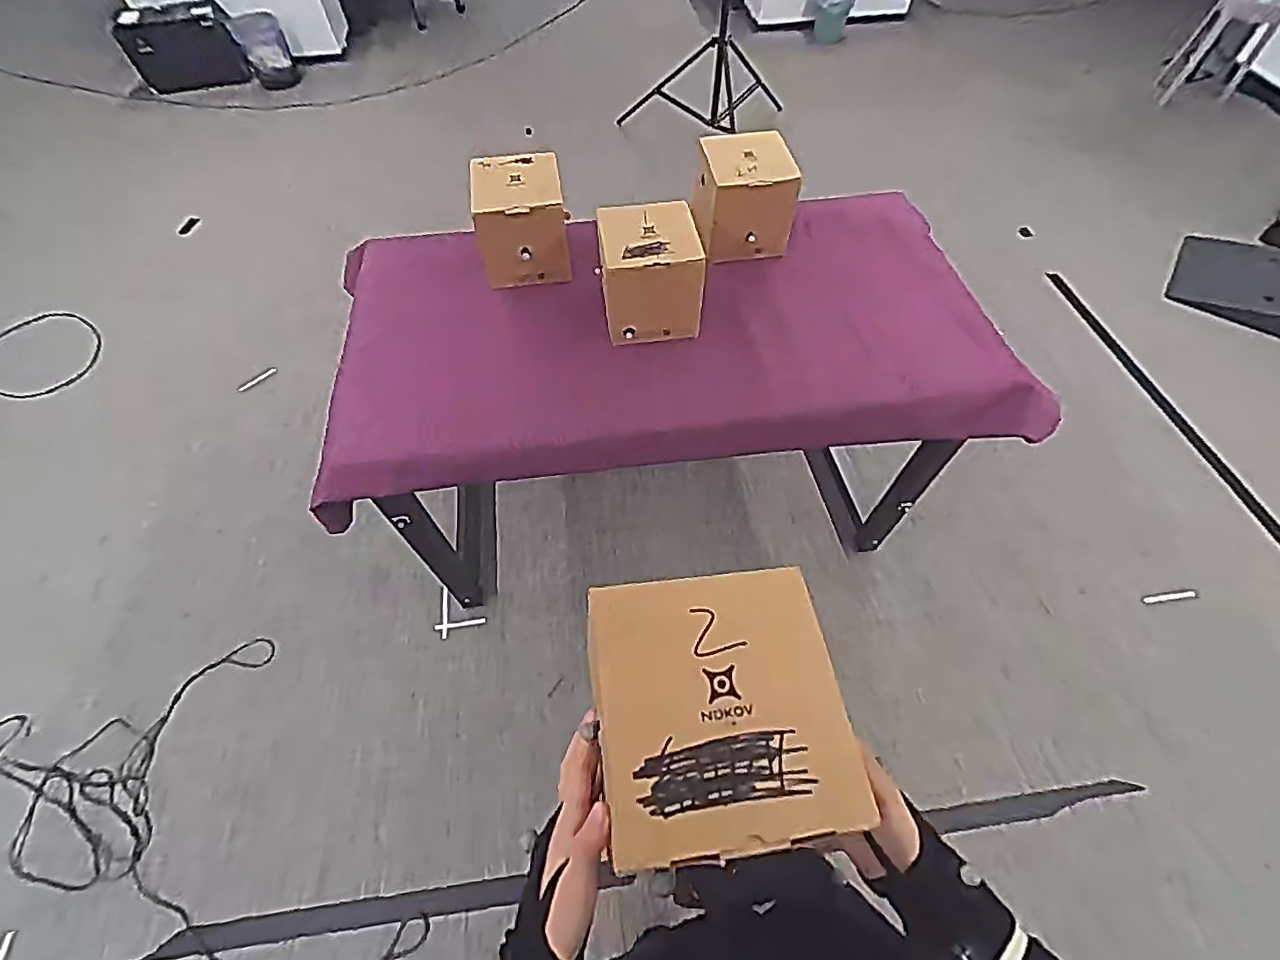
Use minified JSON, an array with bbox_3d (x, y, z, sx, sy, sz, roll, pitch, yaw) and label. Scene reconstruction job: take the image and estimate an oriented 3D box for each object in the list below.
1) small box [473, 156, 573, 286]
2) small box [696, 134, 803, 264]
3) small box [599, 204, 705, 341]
[{"bbox_3d":[-0.228,-0.505,1.075,0.168,0.176,0.179,-8,60,-5],"label":"small box"},{"bbox_3d":[0.213,-0.575,1.113,0.168,0.176,0.179,-8,59,-3],"label":"small box"},{"bbox_3d":[0.019,-0.372,0.990,0.168,0.176,0.179,-7,57,-4],"label":"small box"}]
